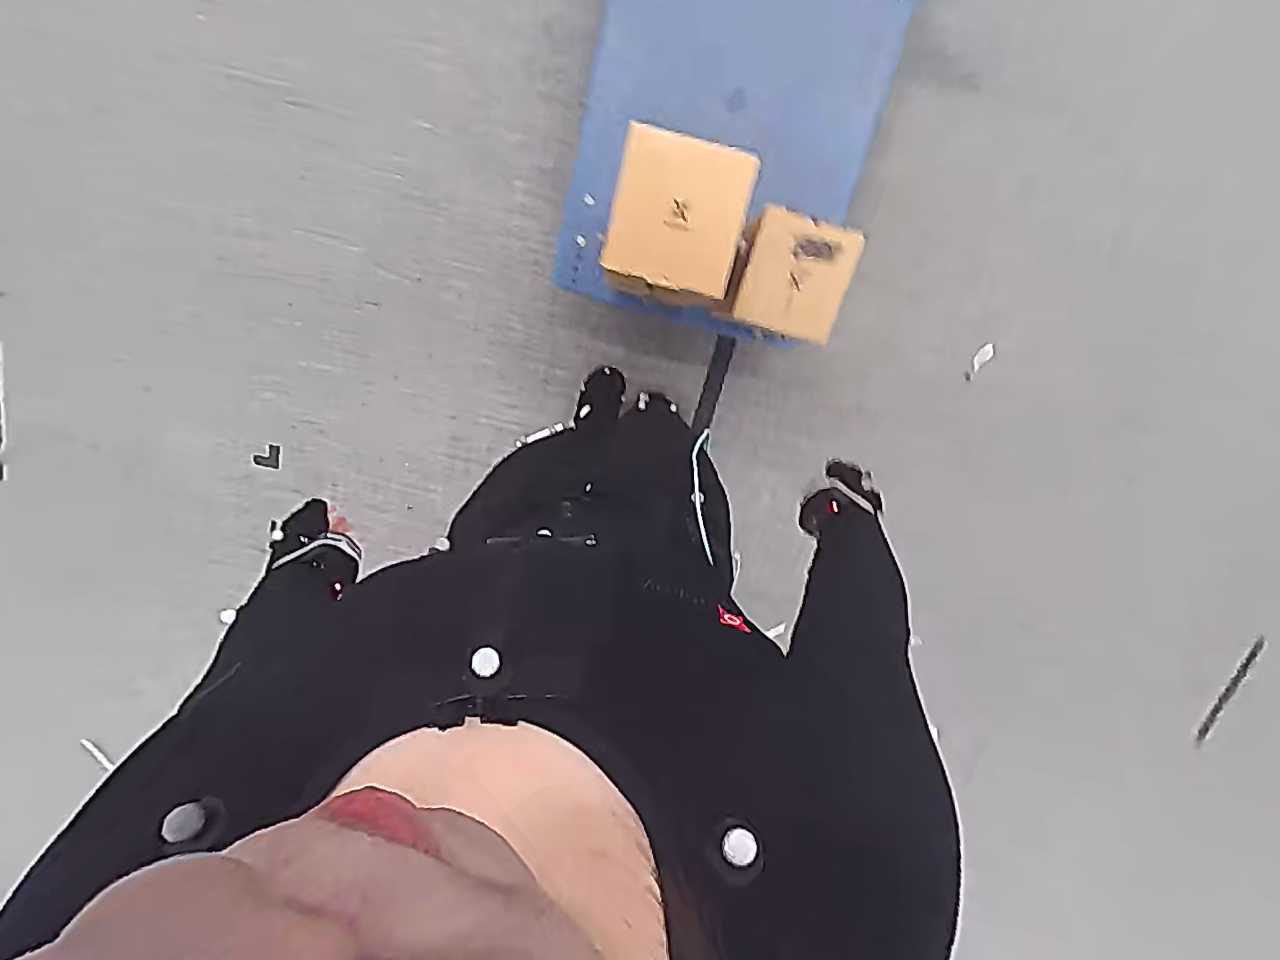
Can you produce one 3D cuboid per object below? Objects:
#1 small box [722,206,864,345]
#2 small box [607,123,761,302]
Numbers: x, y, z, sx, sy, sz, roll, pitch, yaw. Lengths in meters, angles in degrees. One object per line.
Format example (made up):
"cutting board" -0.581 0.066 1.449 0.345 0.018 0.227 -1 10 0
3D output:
"small box" 0.254 -0.349 0.947 0.168 0.176 0.179 16 107 -5
"small box" 0.053 -0.364 0.771 0.168 0.176 0.179 13 106 -4
